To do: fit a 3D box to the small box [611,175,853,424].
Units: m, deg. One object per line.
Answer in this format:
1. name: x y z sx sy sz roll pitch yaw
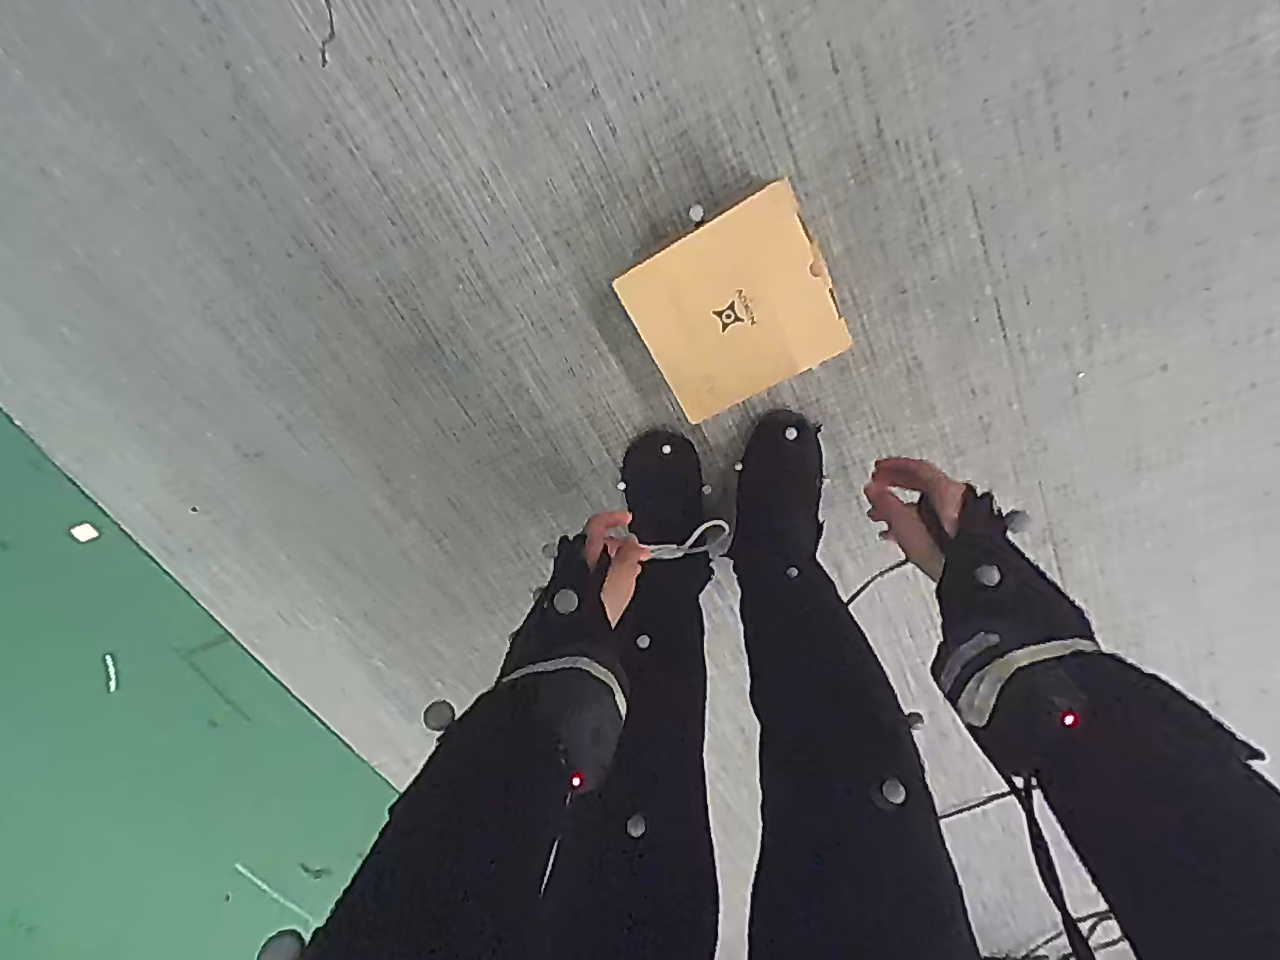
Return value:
1. small box: 0.093 -0.189 0.569 0.179 0.176 0.168 -26 112 17
